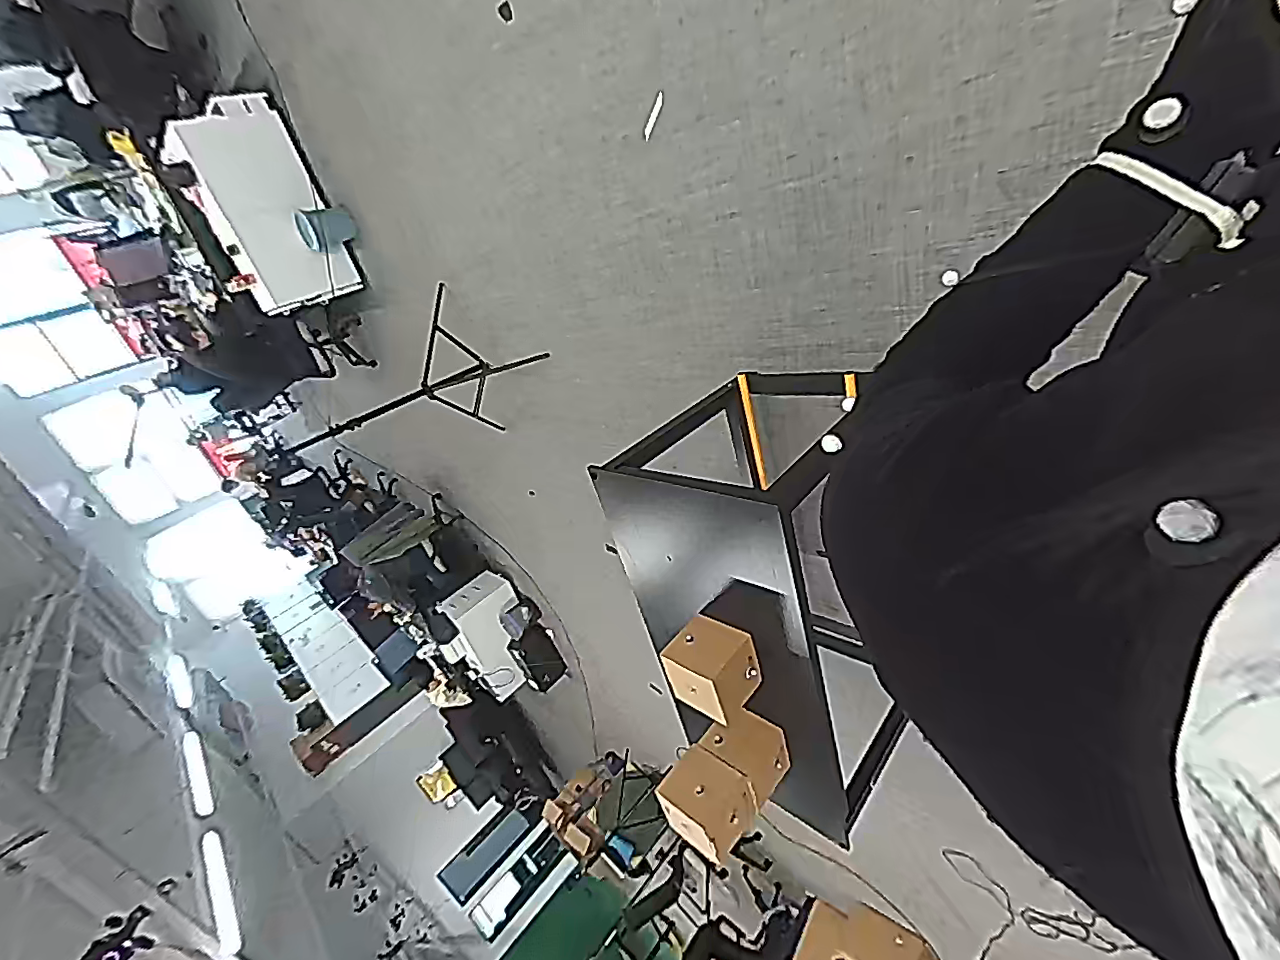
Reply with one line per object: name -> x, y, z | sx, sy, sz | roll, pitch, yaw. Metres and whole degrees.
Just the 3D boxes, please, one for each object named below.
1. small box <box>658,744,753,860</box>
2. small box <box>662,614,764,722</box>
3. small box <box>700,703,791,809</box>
small box -> 0.184, 0.848, 1.441 | 0.179, 0.176, 0.168 | 10, 127, 46
small box -> 0.190, 0.473, 1.393 | 0.179, 0.176, 0.168 | 10, 129, 46
small box -> 0.299, 0.765, 1.523 | 0.179, 0.176, 0.168 | 13, 130, 45
